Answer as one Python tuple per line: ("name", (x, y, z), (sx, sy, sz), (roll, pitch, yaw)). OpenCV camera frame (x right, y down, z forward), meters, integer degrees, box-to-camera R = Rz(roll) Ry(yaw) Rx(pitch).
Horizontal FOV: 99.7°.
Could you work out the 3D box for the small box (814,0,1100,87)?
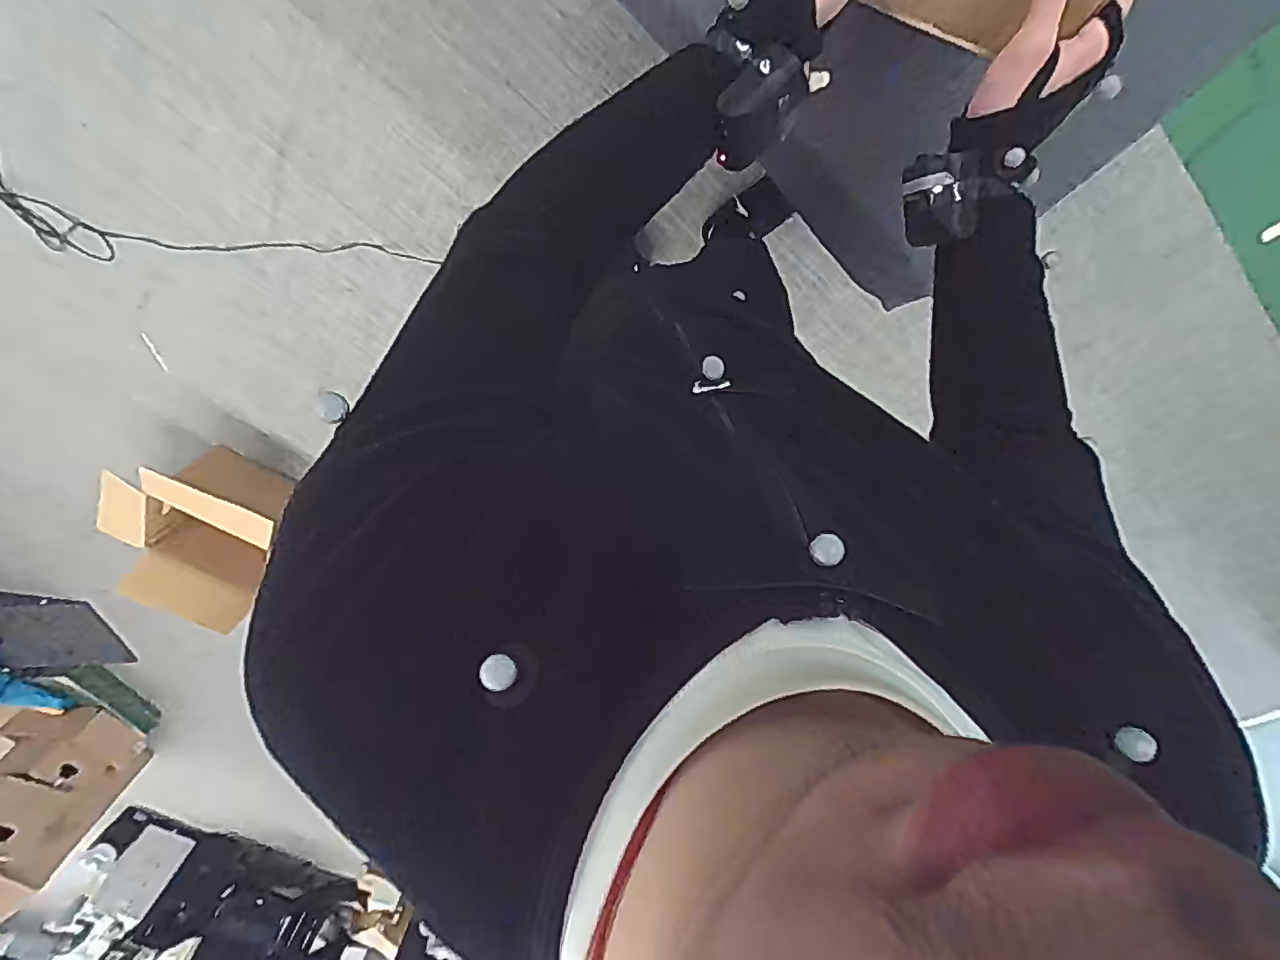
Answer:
("small box", (0.243, -0.415, 0.348), (0.179, 0.176, 0.168), (21, 160, -2))
